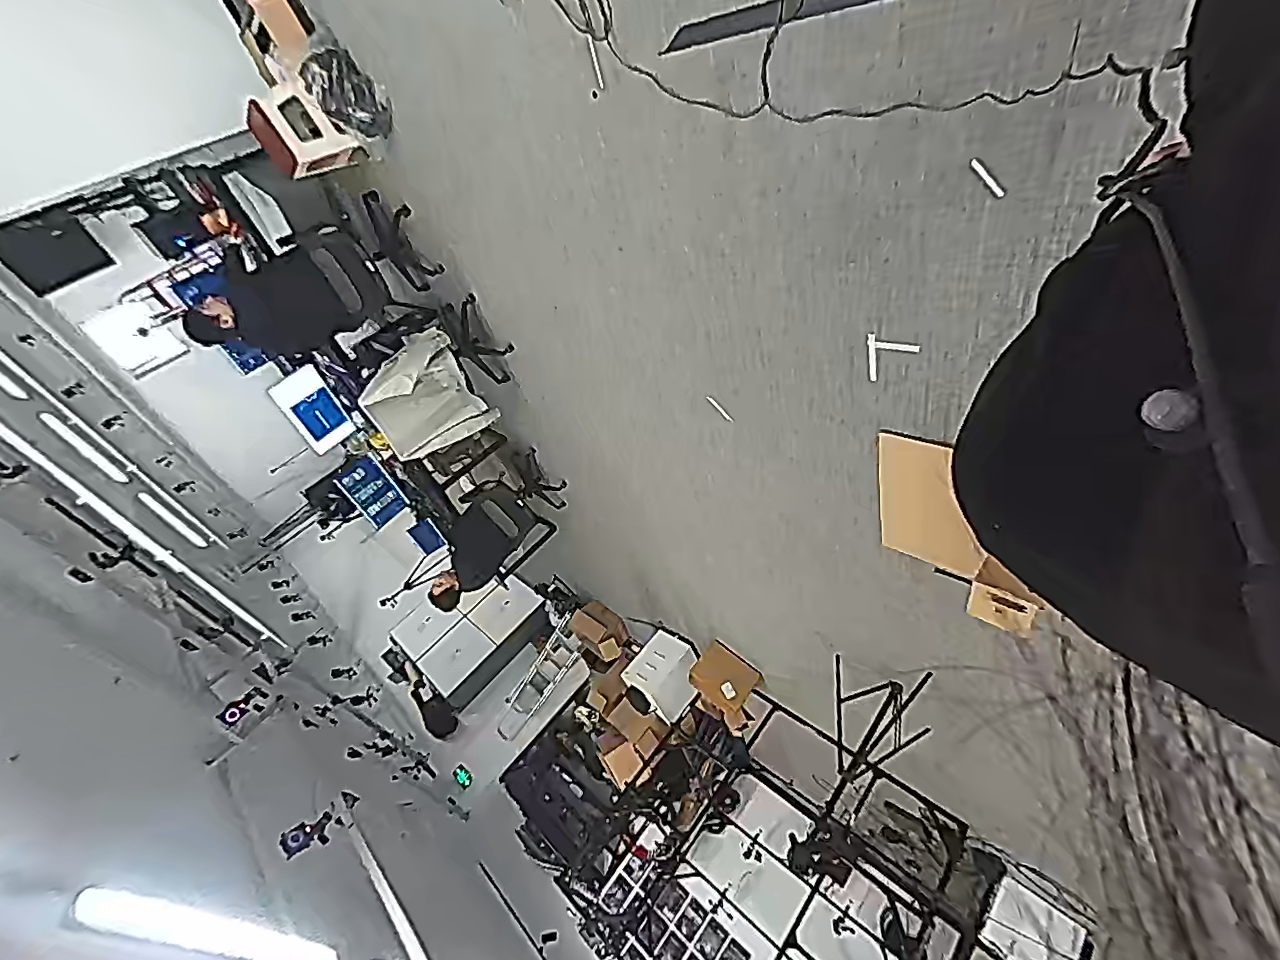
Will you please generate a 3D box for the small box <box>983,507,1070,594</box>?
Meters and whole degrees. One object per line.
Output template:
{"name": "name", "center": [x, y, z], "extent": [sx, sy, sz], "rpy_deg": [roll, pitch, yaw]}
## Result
{"name": "small box", "center": [1.213, 0.215, 1.697], "extent": [0.168, 0.176, 0.179], "rpy_deg": [26, 149, 38]}
